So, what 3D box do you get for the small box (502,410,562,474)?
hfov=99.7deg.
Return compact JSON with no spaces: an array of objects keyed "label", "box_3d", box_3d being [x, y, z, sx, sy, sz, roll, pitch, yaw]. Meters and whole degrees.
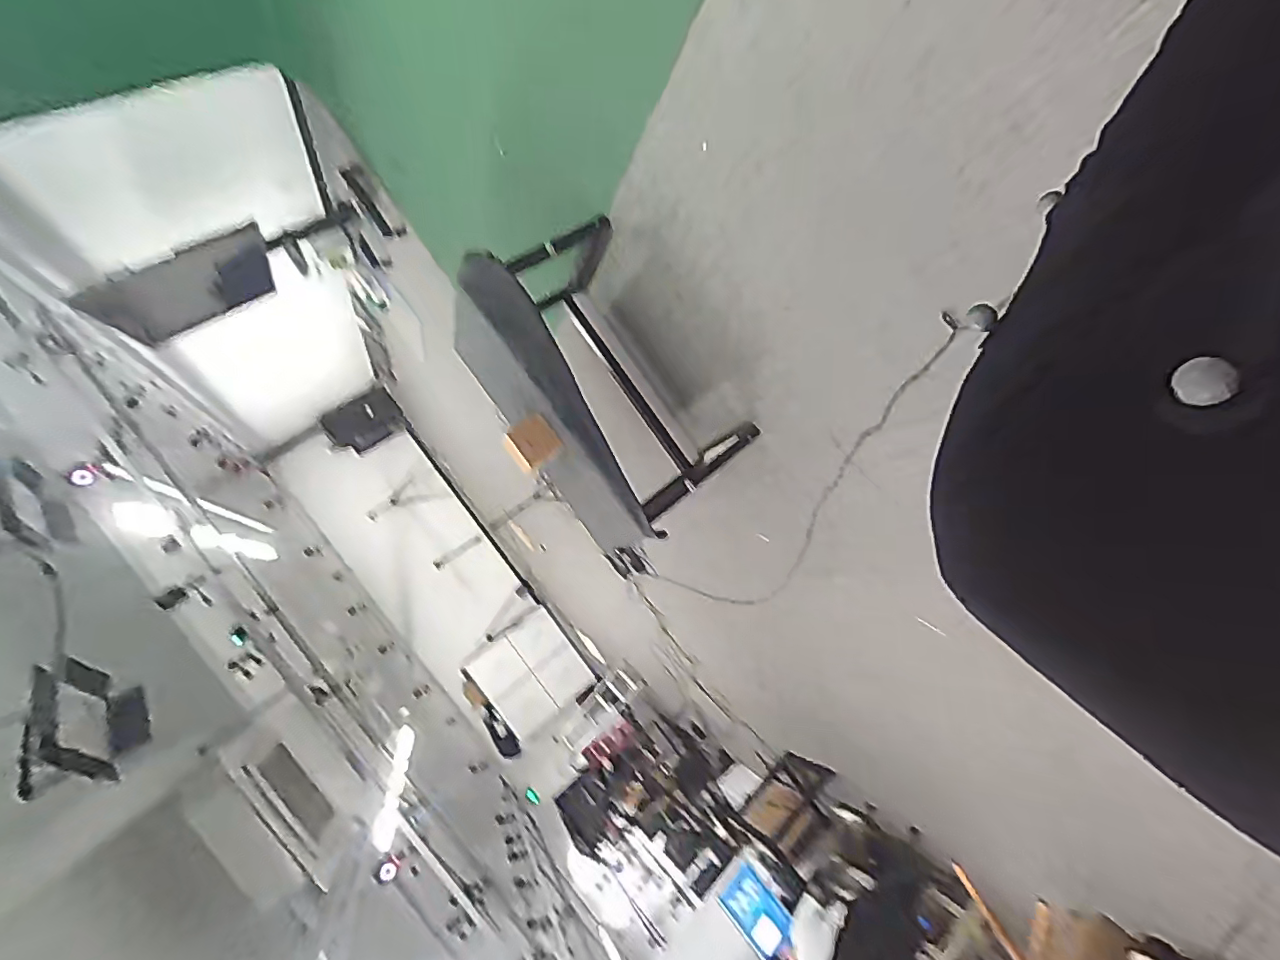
[{"label":"small box","box_3d":[-0.443,-0.156,2.222,0.179,0.176,0.168,55,156,-2]}]
